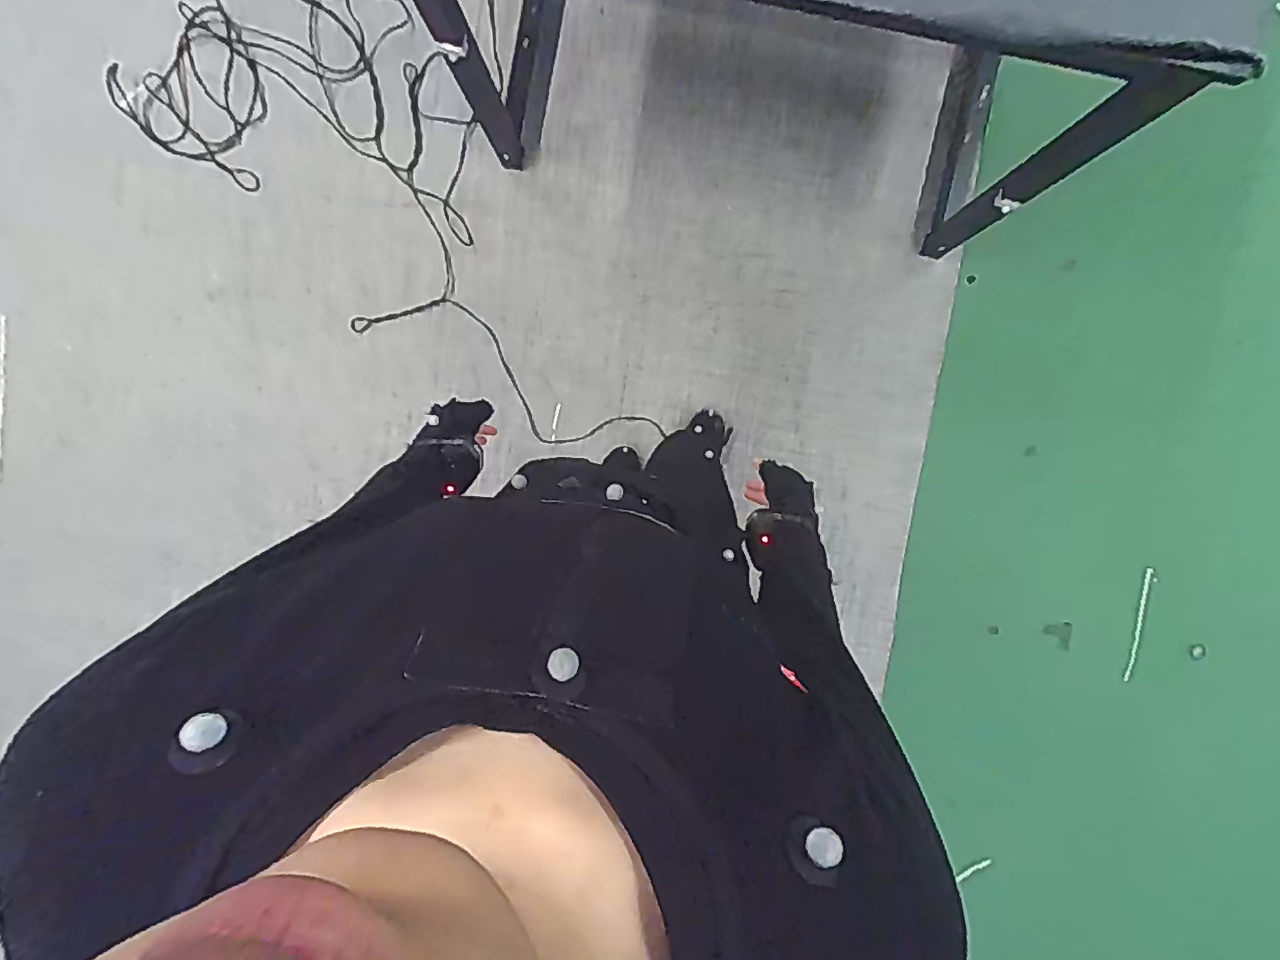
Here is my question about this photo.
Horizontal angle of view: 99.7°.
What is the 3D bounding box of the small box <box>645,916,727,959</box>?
[{"bbox_3d":[0.101,1.177,1.265,0.179,0.176,0.168,13,93,1],"label":"small box"}]
